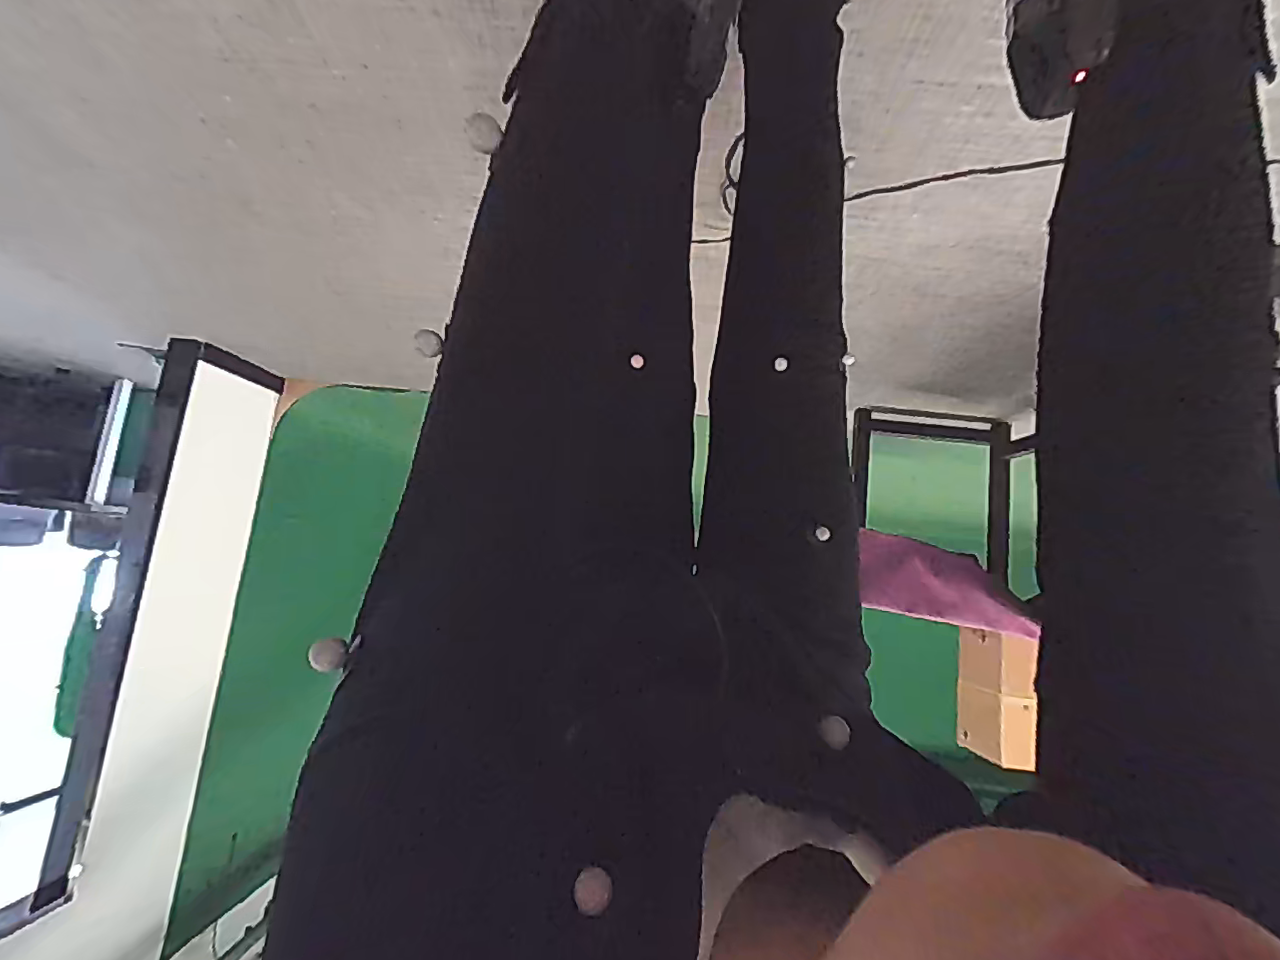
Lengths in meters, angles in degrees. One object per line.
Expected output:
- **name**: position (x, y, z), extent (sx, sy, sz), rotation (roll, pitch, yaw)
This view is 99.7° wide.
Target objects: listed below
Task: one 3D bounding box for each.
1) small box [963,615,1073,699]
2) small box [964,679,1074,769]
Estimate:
- **small box**: position (0.968, 0.449, 1.391), extent (0.179, 0.176, 0.168), rotation (7, 171, -3)
- **small box**: position (0.953, 0.609, 1.374), extent (0.168, 0.176, 0.179), rotation (6, 172, -1)
